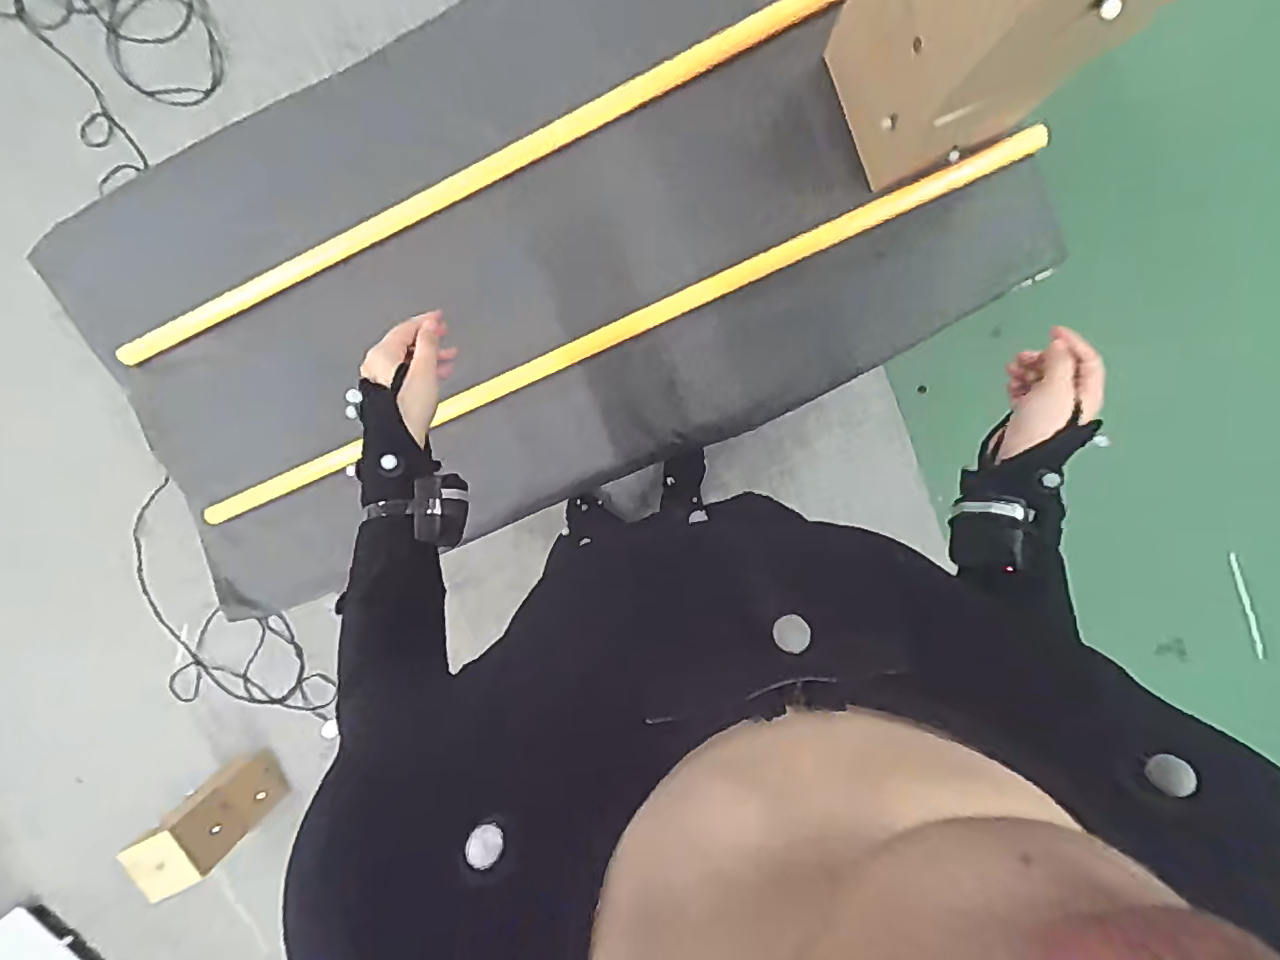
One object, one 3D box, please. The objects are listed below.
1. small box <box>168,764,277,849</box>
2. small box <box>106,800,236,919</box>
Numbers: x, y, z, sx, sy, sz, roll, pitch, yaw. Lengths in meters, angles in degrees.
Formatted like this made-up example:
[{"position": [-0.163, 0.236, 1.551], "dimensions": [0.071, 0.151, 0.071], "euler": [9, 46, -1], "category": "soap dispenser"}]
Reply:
[{"position": [-1.232, 0.989, 1.612], "dimensions": [0.179, 0.176, 0.168], "euler": [-26, 96, 7], "category": "small box"}, {"position": [-1.237, 1.005, 1.447], "dimensions": [0.179, 0.176, 0.168], "euler": [-28, 96, 7], "category": "small box"}]
